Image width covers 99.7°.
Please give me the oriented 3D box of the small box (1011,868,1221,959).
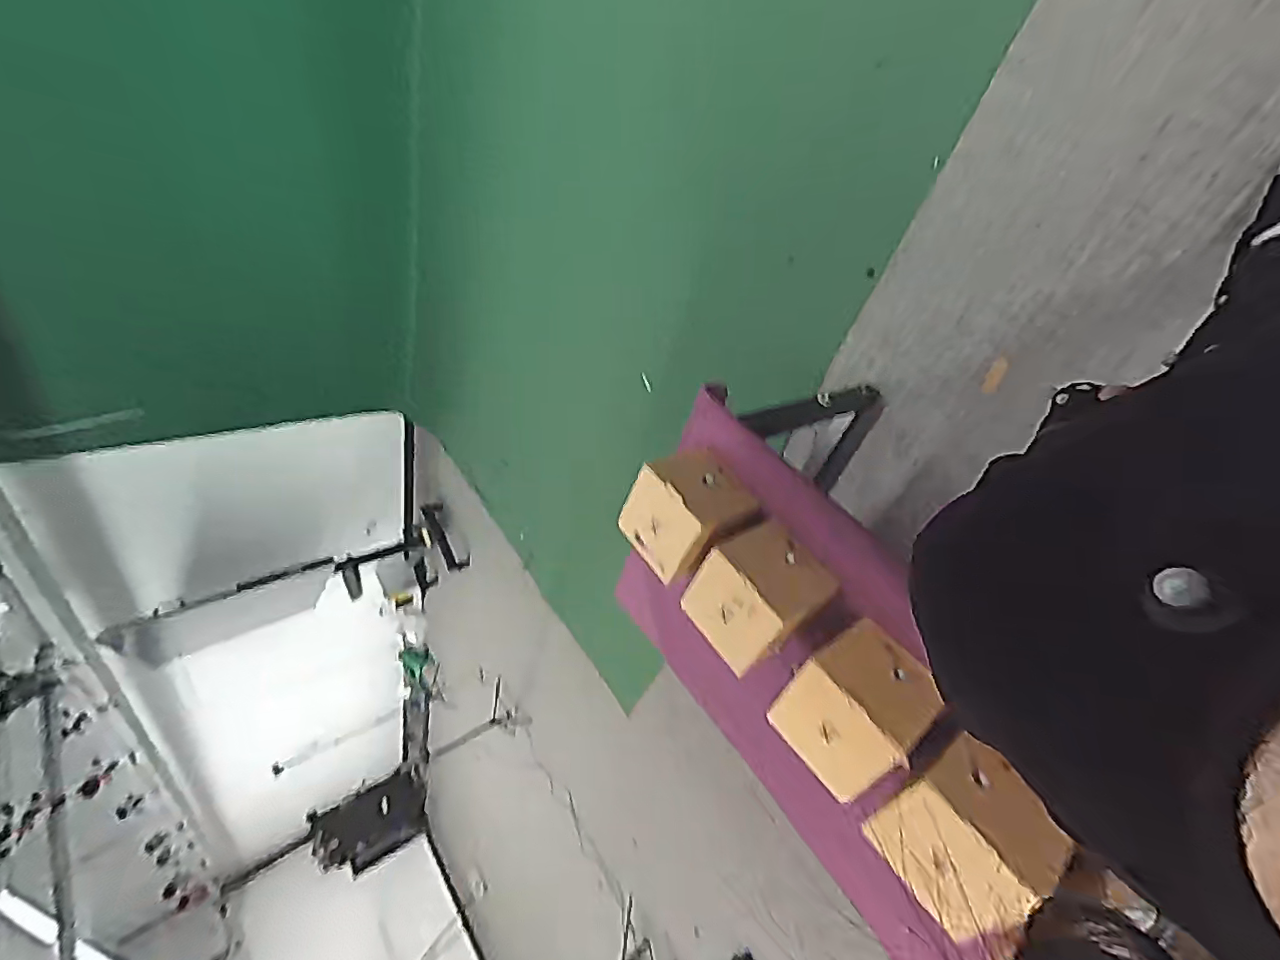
[{"bbox_3d":[0.602,0.633,0.674,0.168,0.176,0.179,47,136,31],"label":"small box"}]
